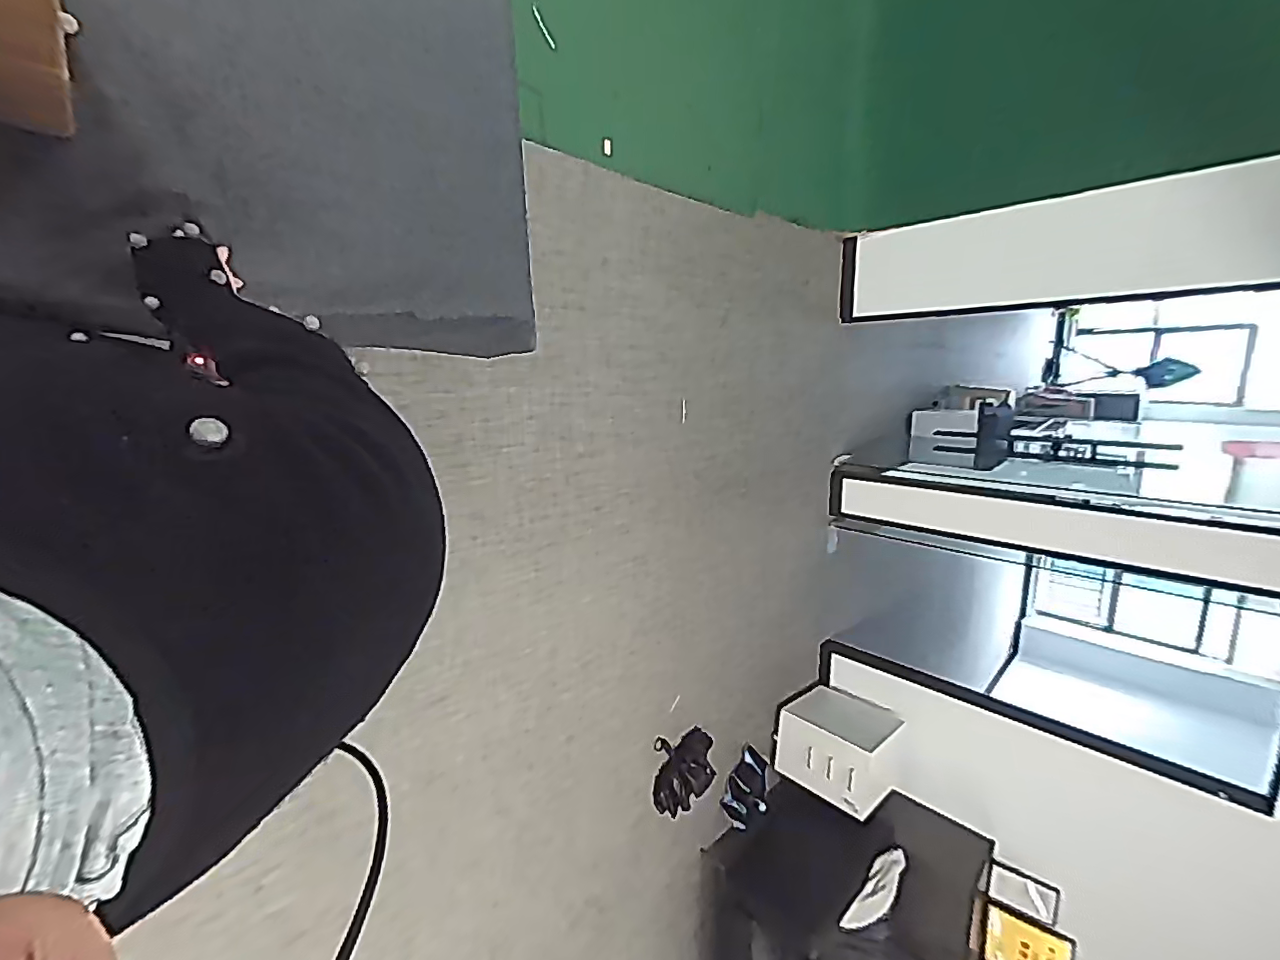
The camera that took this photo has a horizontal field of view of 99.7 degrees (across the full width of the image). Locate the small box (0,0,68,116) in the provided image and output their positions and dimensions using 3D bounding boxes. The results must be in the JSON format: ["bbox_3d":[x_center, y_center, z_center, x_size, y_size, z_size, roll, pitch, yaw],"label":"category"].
[{"bbox_3d":[-0.583,-0.425,0.426,0.168,0.176,0.179,-10,106,-44],"label":"small box"}]
